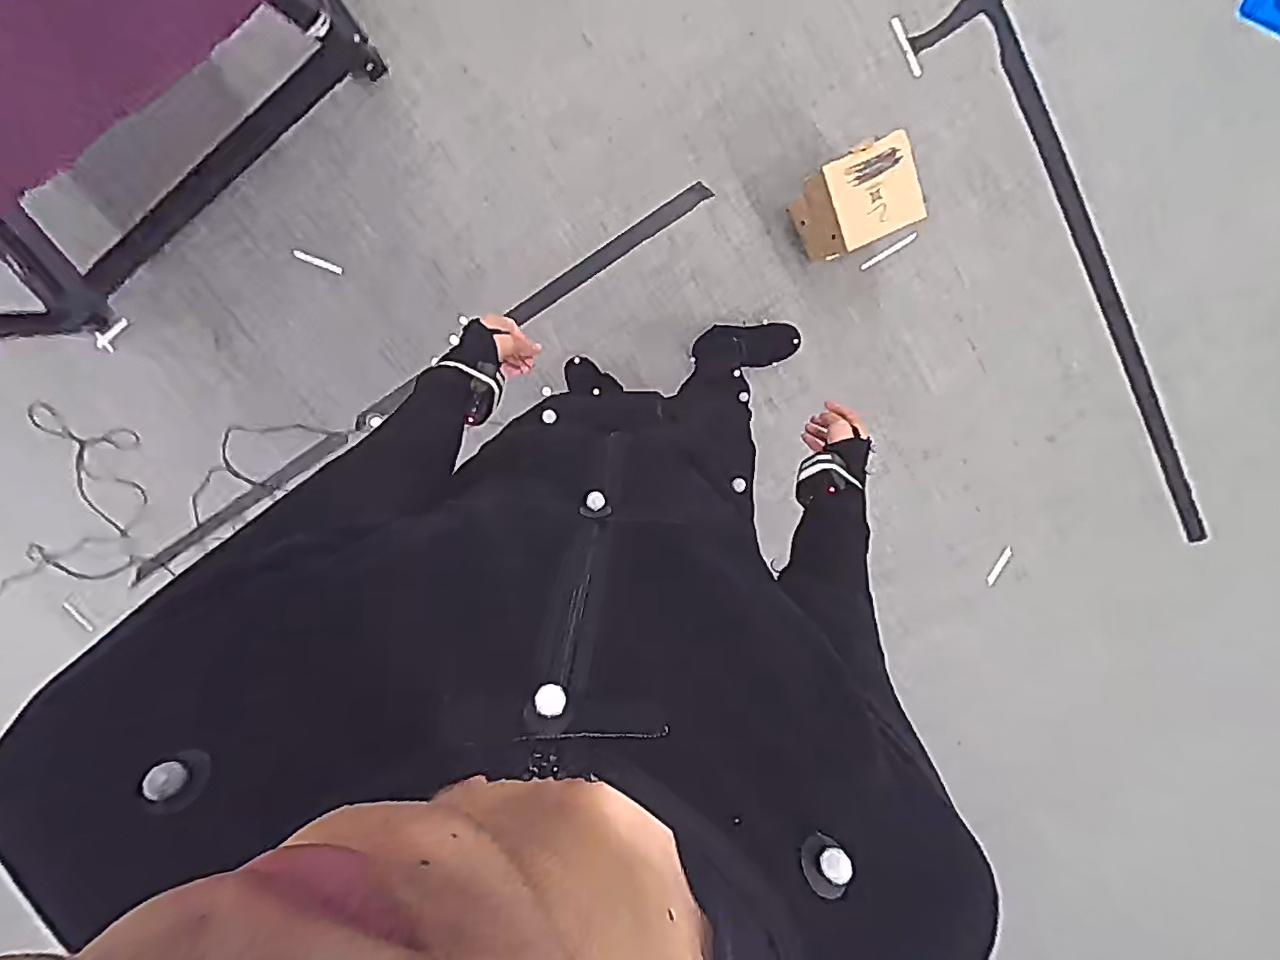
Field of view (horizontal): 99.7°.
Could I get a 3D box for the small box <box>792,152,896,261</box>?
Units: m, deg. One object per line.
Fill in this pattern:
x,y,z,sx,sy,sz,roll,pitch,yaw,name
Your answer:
0.484,-0.652,1.316,0.179,0.176,0.168,-27,105,11,small box
